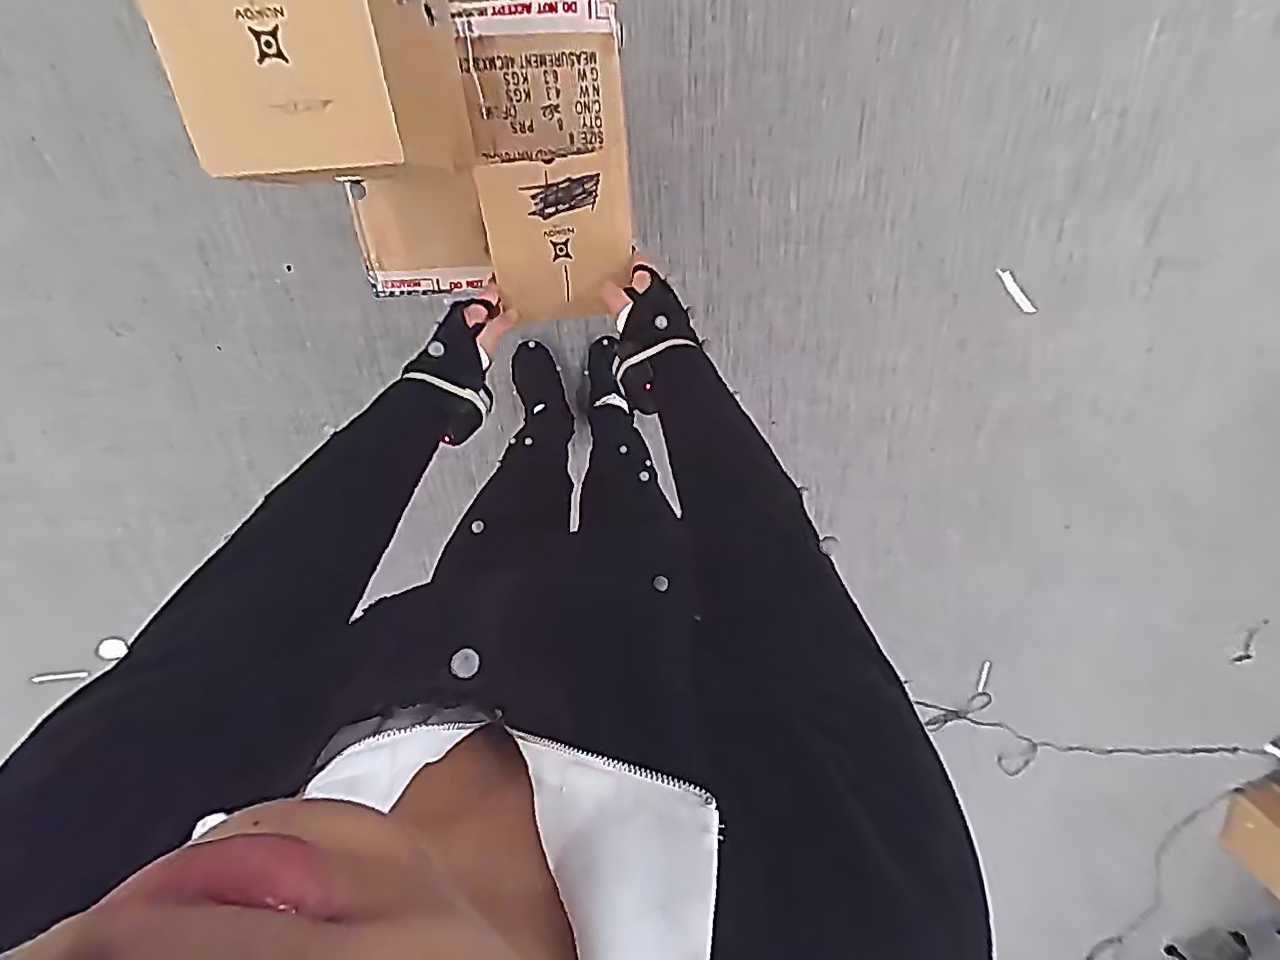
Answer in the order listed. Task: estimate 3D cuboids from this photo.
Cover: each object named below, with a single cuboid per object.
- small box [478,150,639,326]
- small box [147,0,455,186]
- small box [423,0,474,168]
[{"bbox_3d":[-0.100,-0.303,0.697,0.168,0.176,0.179,-9,112,-4],"label":"small box"},{"bbox_3d":[-0.280,-0.367,0.478,0.168,0.176,0.179,-5,118,-1],"label":"small box"},{"bbox_3d":[-0.299,-0.458,0.613,0.168,0.176,0.179,-5,117,-2],"label":"small box"}]
